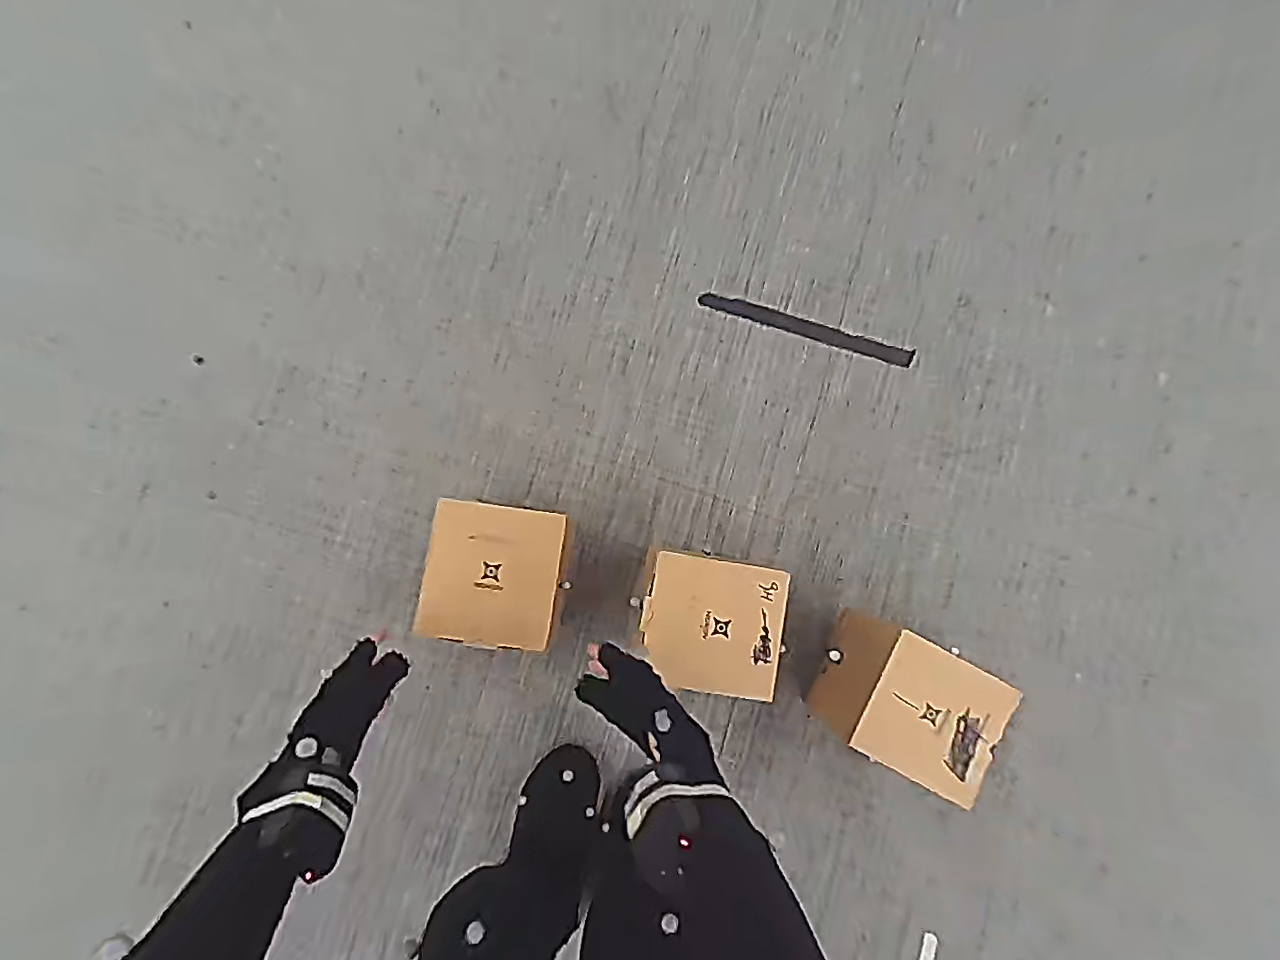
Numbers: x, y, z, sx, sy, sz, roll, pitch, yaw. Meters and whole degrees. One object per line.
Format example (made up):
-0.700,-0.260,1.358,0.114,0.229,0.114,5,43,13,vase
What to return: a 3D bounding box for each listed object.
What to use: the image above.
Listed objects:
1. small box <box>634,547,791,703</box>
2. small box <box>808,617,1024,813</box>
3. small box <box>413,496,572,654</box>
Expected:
0.089,0.188,0.749,0.179,0.176,0.168,10,85,-1,small box
0.367,0.308,0.753,0.179,0.176,0.168,29,84,1,small box
-0.188,0.124,0.743,0.168,0.176,0.179,8,84,-3,small box
